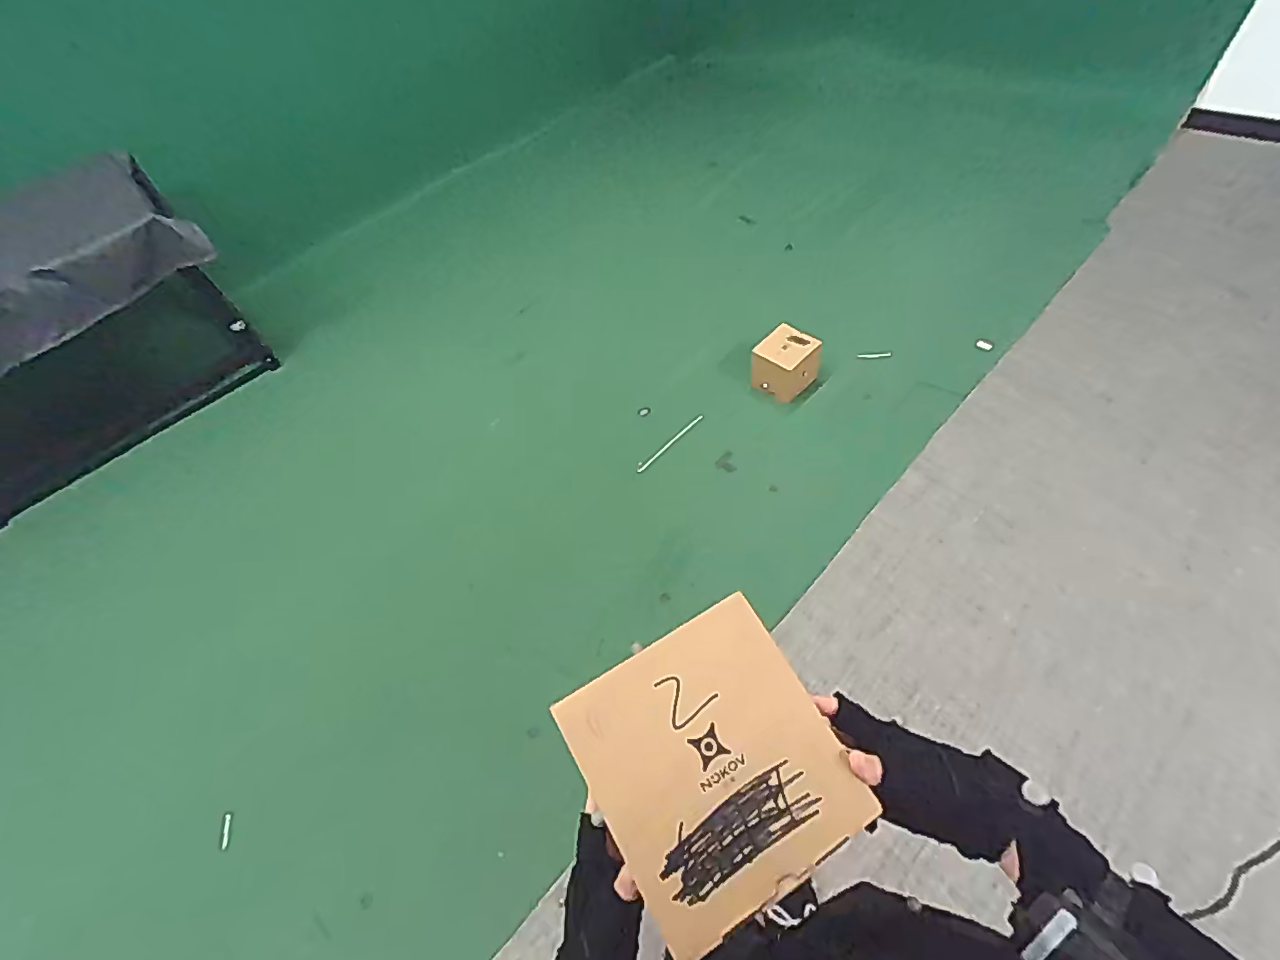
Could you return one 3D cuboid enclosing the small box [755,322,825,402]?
[{"bbox_3d":[0.514,-0.407,1.877,0.179,0.176,0.168,-42,59,-18],"label":"small box"}]
